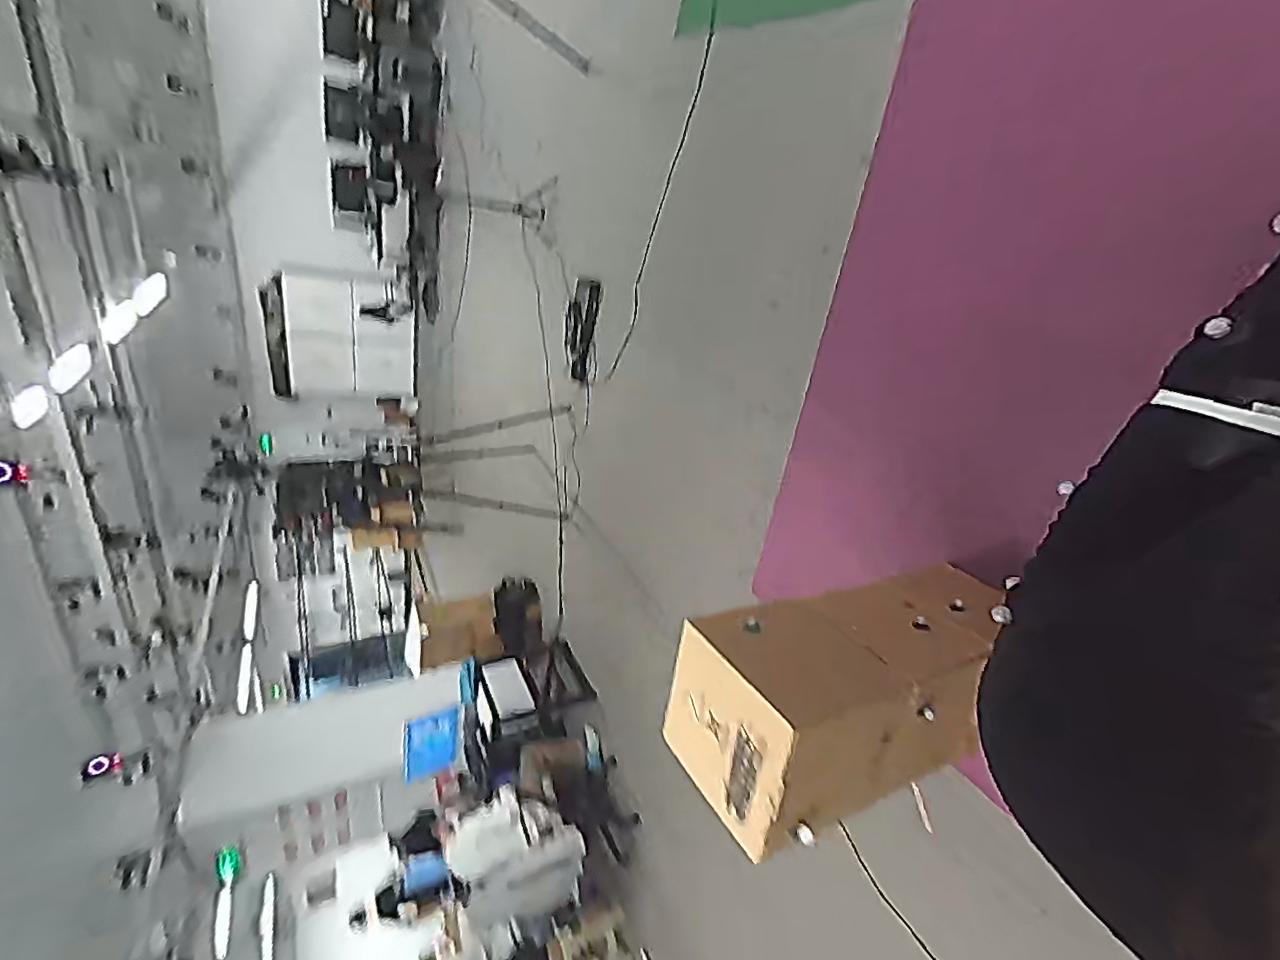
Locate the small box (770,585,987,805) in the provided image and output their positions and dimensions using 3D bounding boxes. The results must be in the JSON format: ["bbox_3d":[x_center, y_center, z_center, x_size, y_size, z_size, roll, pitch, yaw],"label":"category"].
[{"bbox_3d":[0.295,0.254,0.681,0.168,0.176,0.179,34,121,52],"label":"small box"}]

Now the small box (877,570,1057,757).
[{"bbox_3d":[0.435,0.241,0.762,0.179,0.176,0.168,38,124,52],"label":"small box"}]
